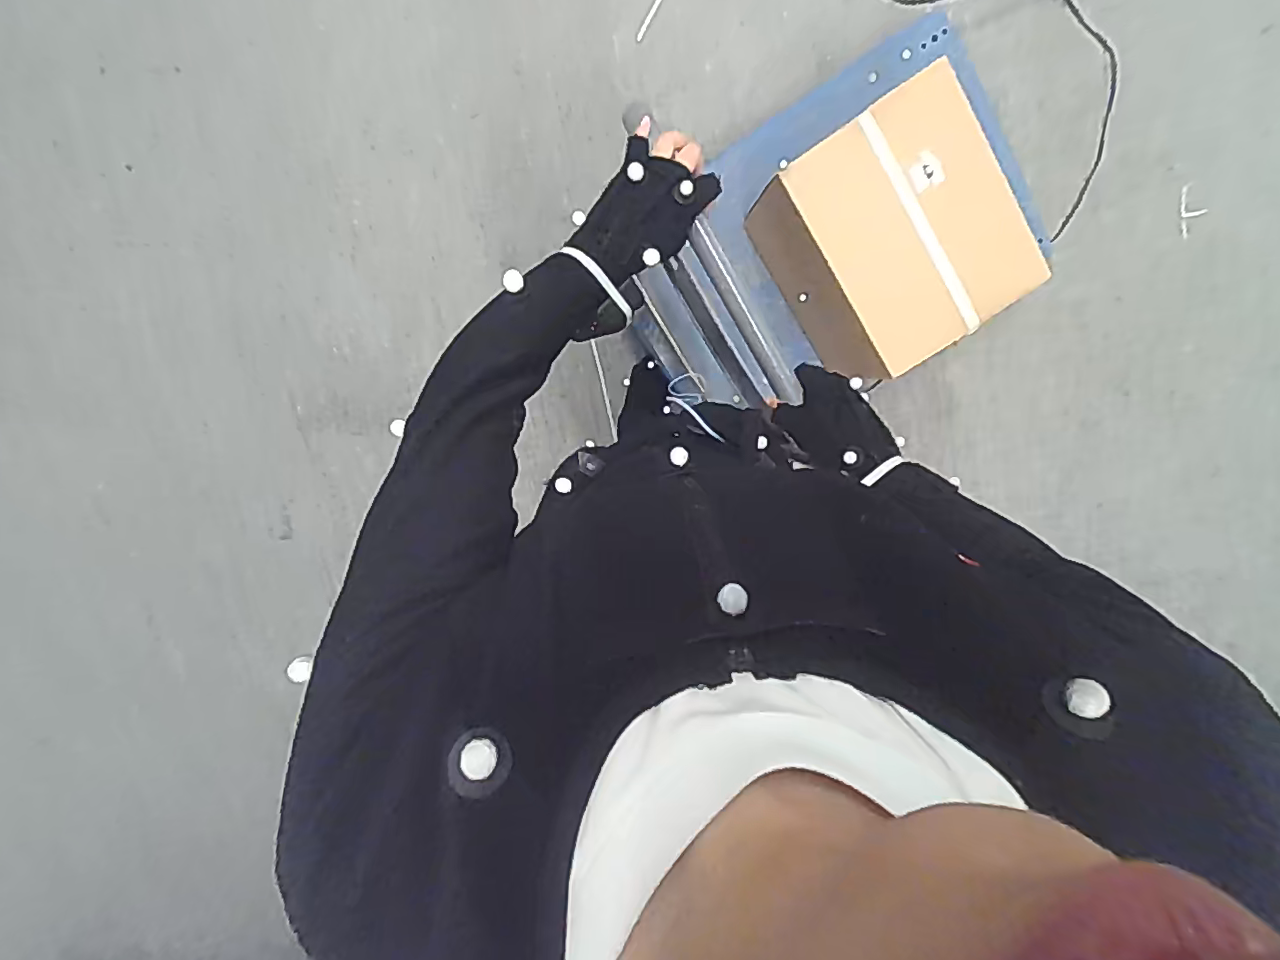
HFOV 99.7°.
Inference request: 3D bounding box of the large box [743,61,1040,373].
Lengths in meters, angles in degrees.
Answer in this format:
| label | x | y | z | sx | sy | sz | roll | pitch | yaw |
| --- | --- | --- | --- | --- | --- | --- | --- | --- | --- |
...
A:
| label | x | y | z | sx | sy | sz | roll | pitch | yaw |
| --- | --- | --- | --- | --- | --- | --- | --- | --- | --- |
| large box | 0.454 | -0.460 | 1.059 | 0.320 | 0.320 | 0.408 | -33 | 98 | 5 |
